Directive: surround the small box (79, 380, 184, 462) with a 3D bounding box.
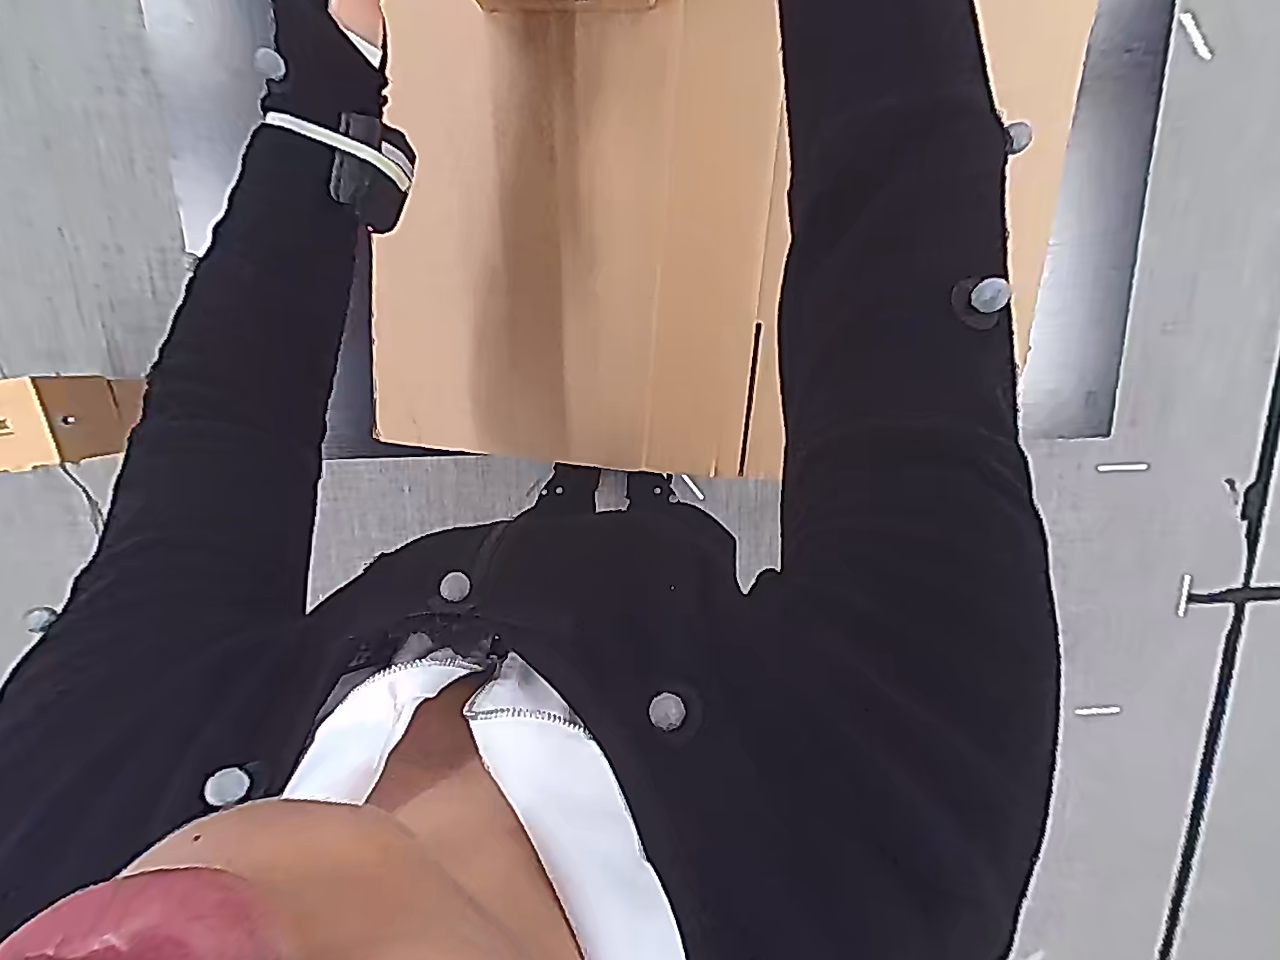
[{"bbox_3d":[-1.248,-0.144,1.289,0.168,0.176,0.179,-6,102,-3],"label":"small box"}]

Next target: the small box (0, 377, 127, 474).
[{"bbox_3d":[-1.239,-0.118,1.128,0.168,0.176,0.179,-9,101,-3],"label":"small box"}]

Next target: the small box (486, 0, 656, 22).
[{"bbox_3d":[-0.069,-0.488,0.392,0.168,0.176,0.179,8,100,9],"label":"small box"}]
